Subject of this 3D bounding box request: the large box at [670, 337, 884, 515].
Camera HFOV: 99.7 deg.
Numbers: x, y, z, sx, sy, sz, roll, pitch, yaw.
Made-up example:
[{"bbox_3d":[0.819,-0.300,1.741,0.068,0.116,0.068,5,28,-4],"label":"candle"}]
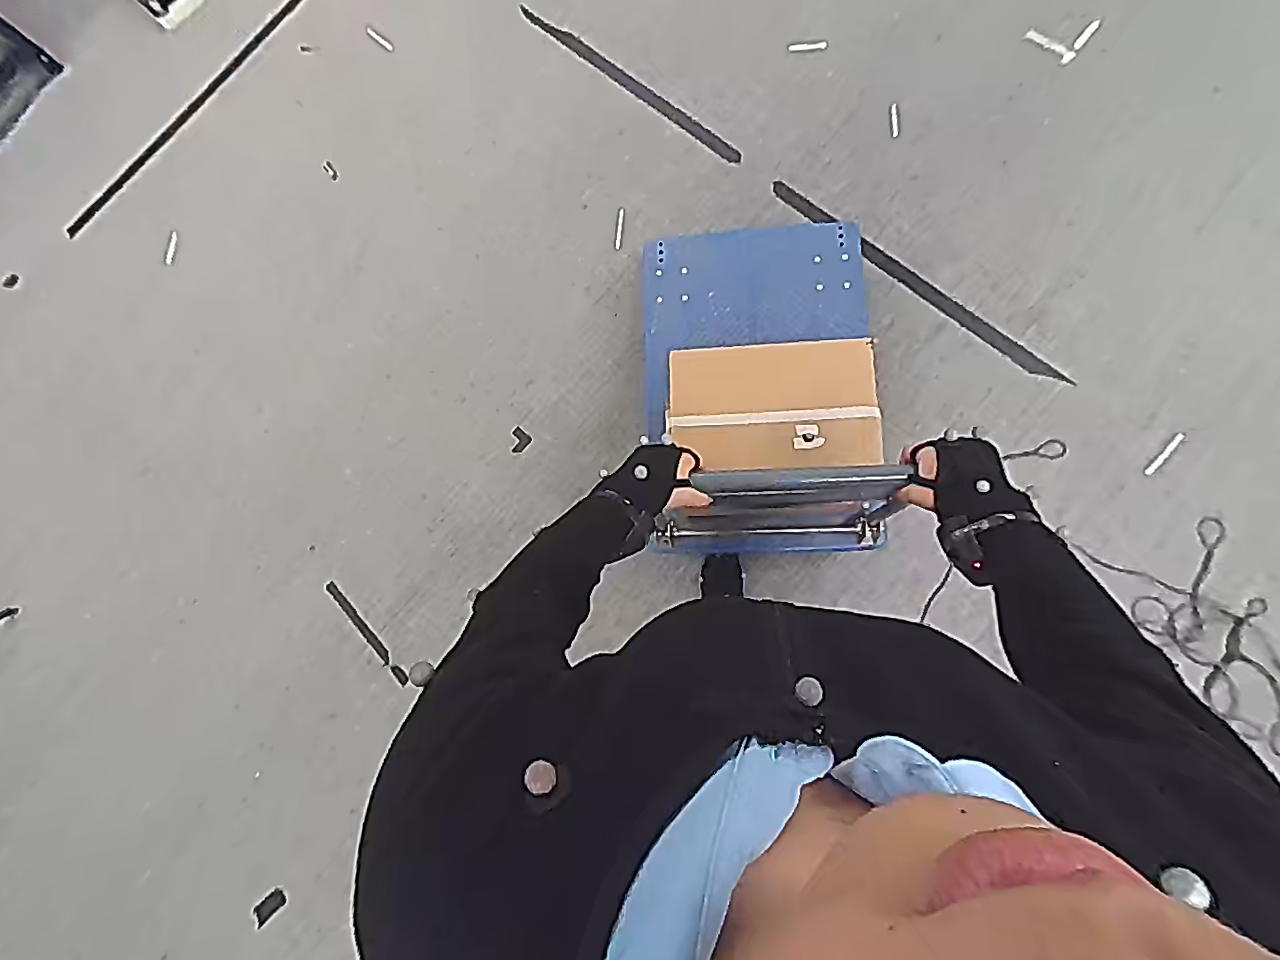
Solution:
[{"bbox_3d":[0.282,-0.098,1.221,0.408,0.320,0.320,-2,79,7],"label":"large box"}]
